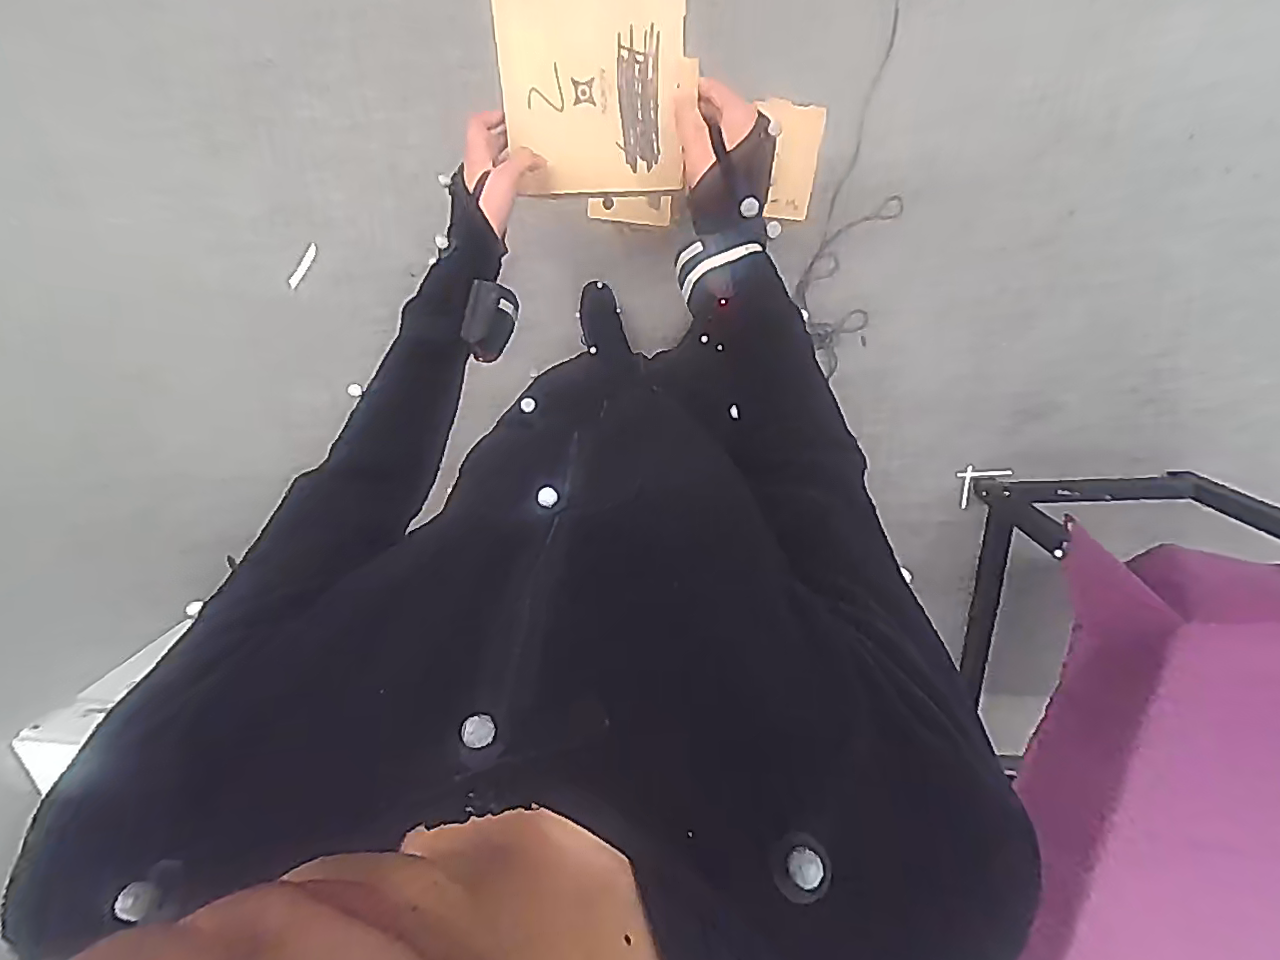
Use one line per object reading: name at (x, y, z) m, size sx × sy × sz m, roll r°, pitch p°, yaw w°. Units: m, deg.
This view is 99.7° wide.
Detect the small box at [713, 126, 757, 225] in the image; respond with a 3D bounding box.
small box at (0.247, -0.642, 1.153) m, size 0.179 × 0.176 × 0.168 m, roll 1°, pitch 111°, yaw 6°

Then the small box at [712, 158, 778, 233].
small box at (0.260, -0.701, 1.303) m, size 0.168 × 0.176 × 0.179 m, roll 0°, pitch 111°, yaw 6°

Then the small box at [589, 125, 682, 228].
small box at (-0.005, -0.646, 1.170) m, size 0.179 × 0.176 × 0.168 m, roll 8°, pitch 112°, yaw 3°

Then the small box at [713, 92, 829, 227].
small box at (0.230, -0.581, 1.001) m, size 0.168 × 0.176 × 0.179 m, roll 8°, pitch 111°, yaw 3°
